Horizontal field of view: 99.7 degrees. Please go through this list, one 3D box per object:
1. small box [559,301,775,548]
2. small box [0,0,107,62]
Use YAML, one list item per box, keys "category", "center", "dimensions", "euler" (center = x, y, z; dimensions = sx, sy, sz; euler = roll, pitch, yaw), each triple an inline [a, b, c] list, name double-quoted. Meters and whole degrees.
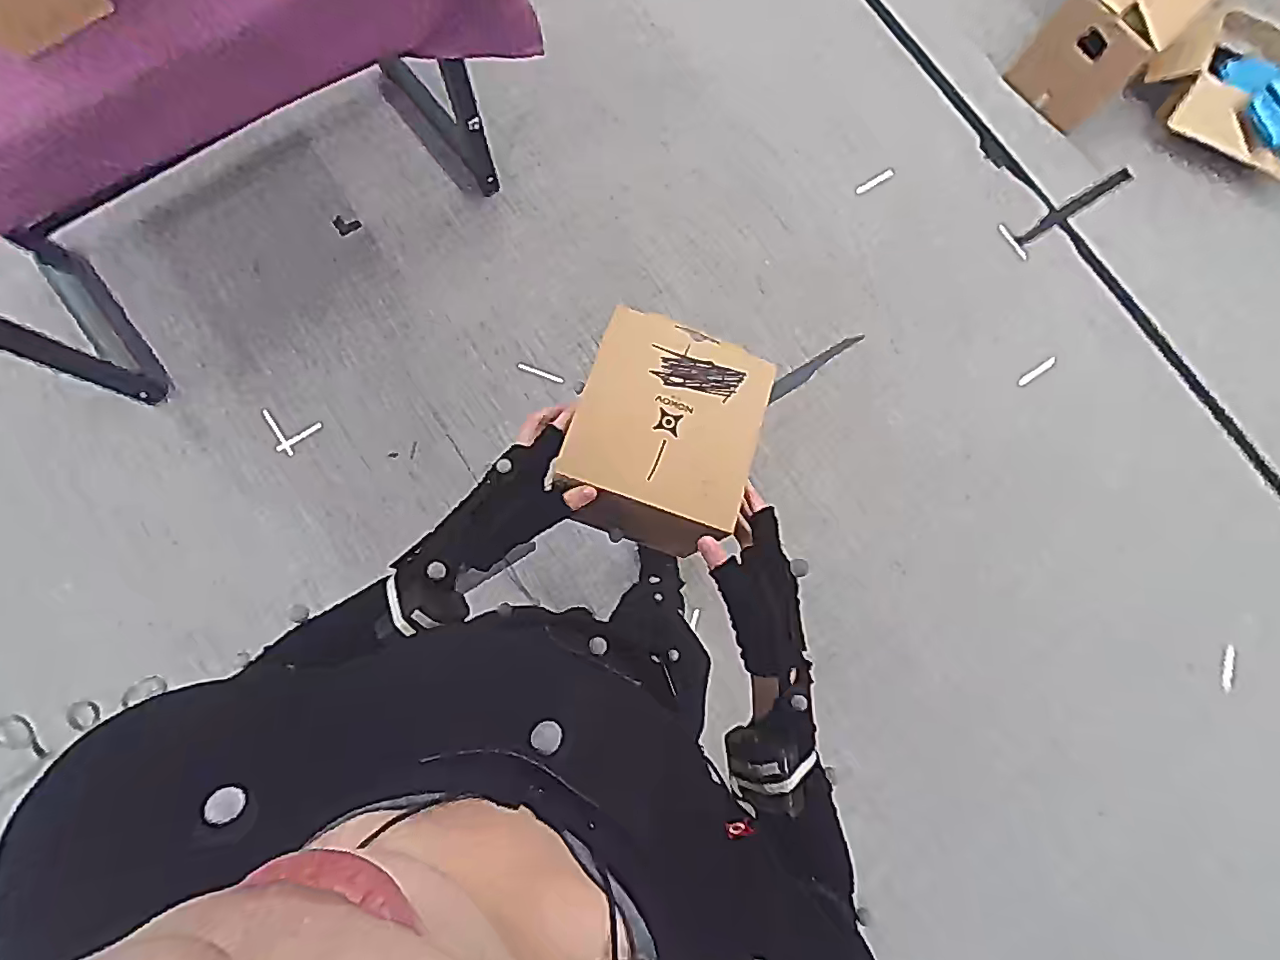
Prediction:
- category: "small box"
  center: [0.017, -0.043, 0.560]
  dimensions: [0.168, 0.176, 0.179]
  euler: [18, 72, -5]
- category: "small box"
  center: [-0.981, -0.802, 0.821]
  dimensions: [0.179, 0.176, 0.168]
  euler: [-41, 83, -8]
